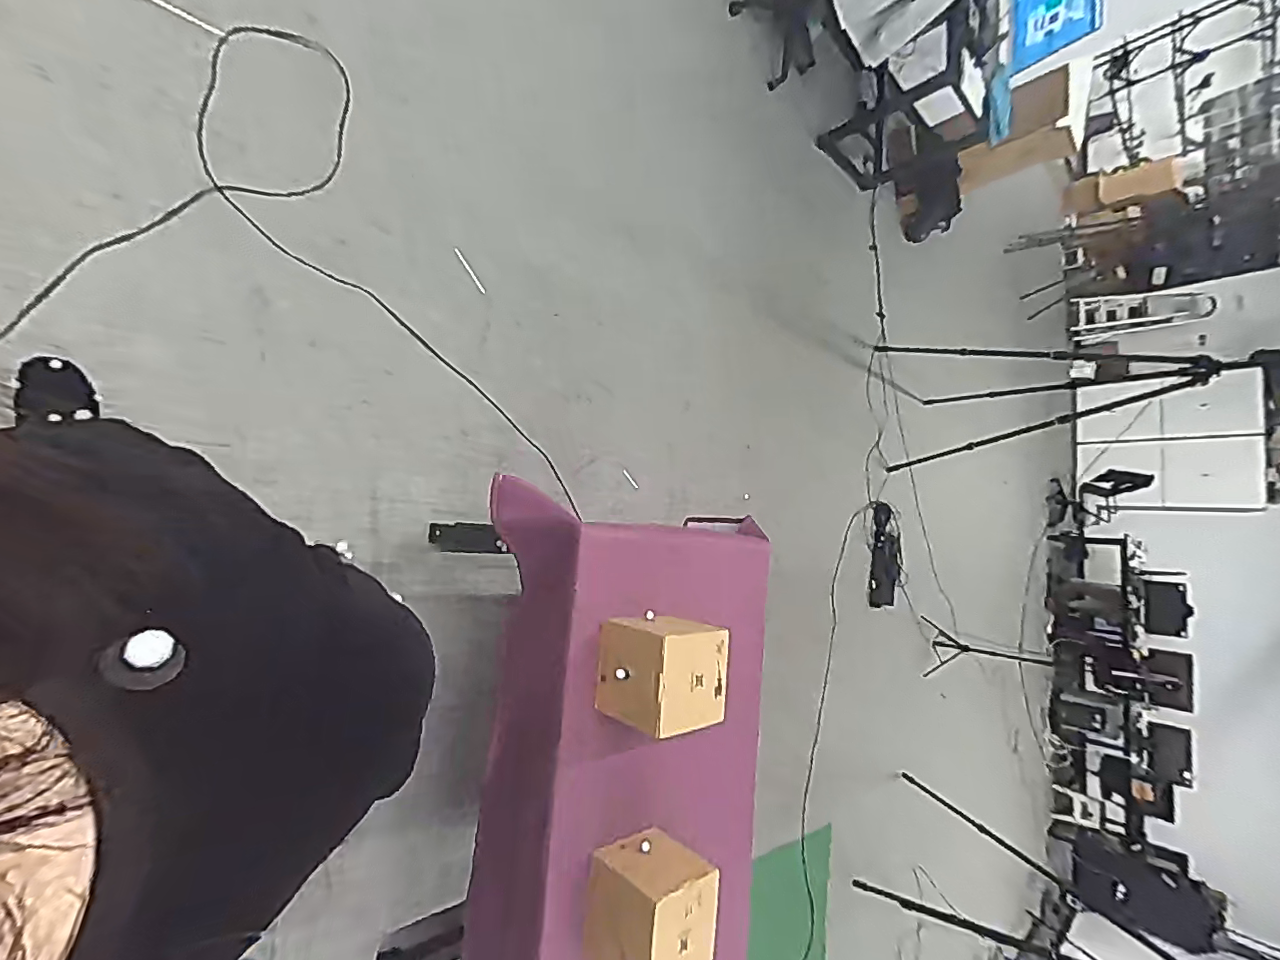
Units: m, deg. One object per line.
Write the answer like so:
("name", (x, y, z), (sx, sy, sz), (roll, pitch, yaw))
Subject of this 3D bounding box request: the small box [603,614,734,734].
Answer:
("small box", (0.050, 0.344, 0.993), (0.179, 0.176, 0.168), (10, 83, -41))

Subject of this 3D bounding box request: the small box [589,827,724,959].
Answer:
("small box", (0.027, 0.764, 0.962), (0.168, 0.176, 0.179), (12, 81, -42))
